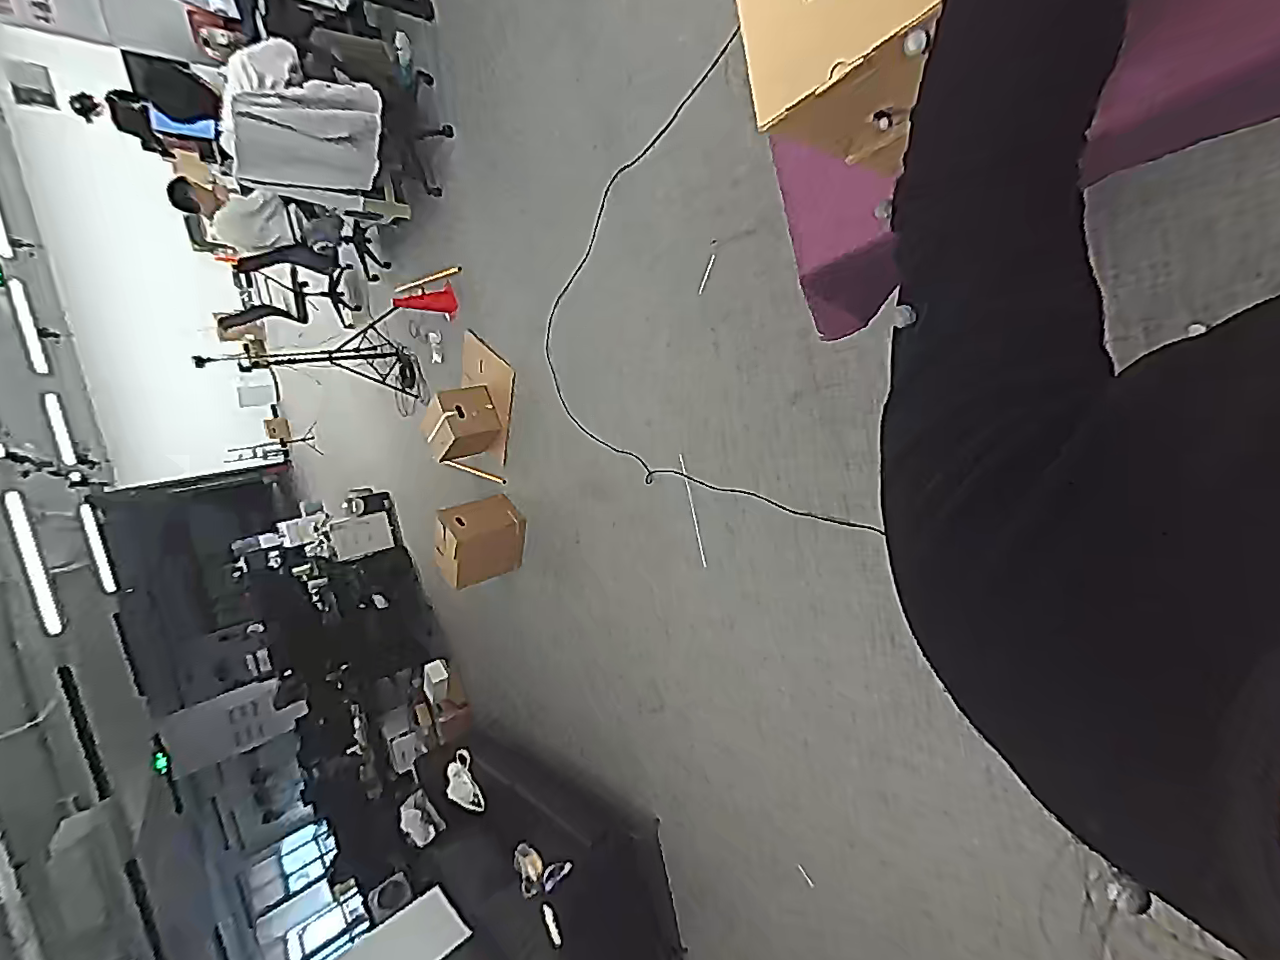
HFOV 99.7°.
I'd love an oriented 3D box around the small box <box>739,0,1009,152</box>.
[{"bbox_3d":[0.211,-0.439,0.497,0.168,0.176,0.179,-5,99,51],"label":"small box"}]
